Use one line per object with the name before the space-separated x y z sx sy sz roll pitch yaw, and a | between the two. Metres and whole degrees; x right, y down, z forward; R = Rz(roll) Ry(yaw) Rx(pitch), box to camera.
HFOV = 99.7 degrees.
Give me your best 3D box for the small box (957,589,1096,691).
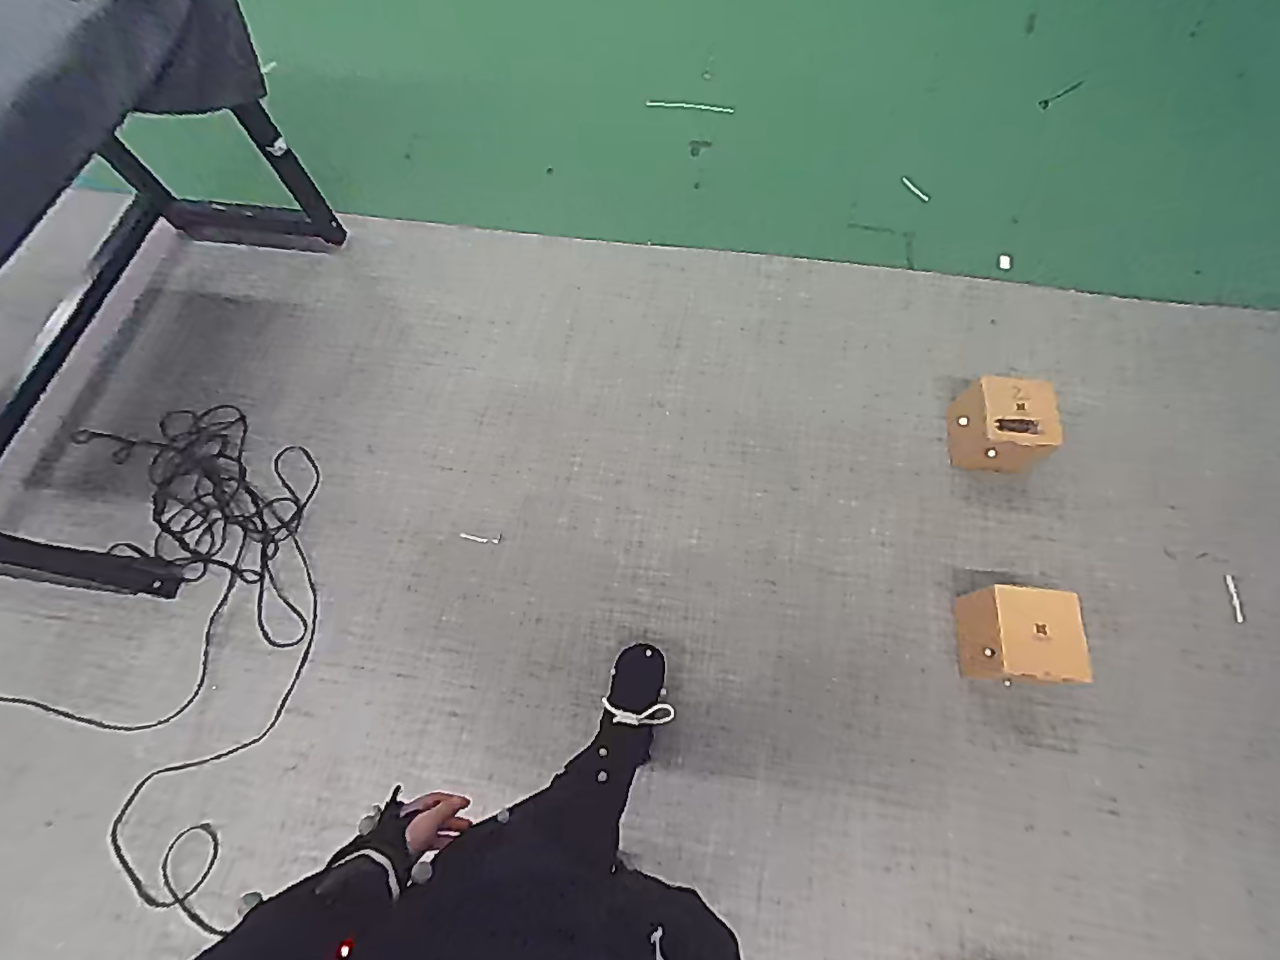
small box | 0.789 0.337 1.127 0.168 0.176 0.179 5 68 3
